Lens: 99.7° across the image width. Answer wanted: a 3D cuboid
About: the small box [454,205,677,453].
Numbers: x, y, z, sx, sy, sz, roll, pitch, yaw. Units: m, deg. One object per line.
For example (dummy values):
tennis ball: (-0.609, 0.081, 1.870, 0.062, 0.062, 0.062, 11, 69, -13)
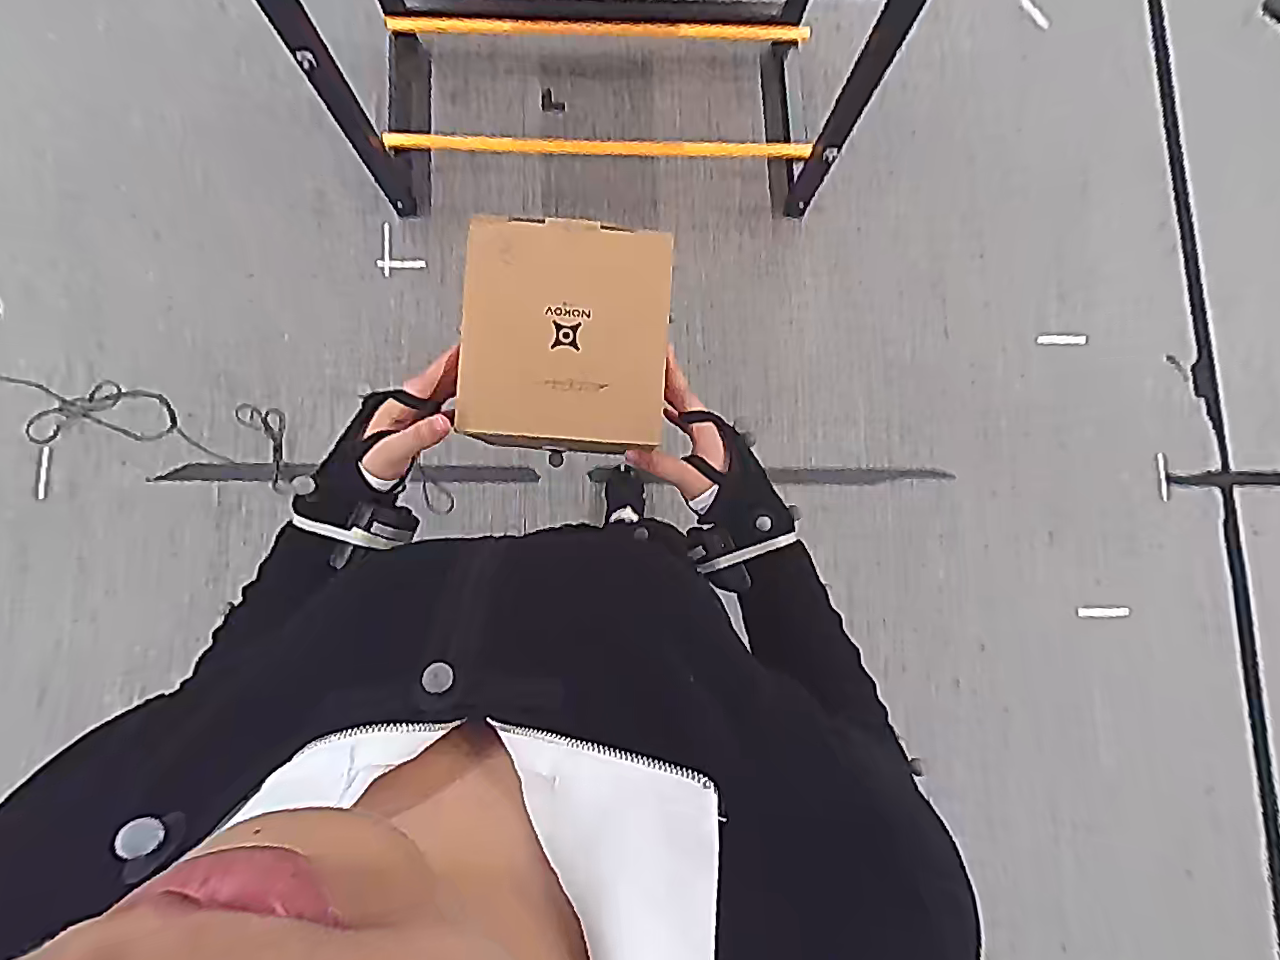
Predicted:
small box: (-0.064, -0.122, 0.507, 0.168, 0.176, 0.179, 4, 89, -4)
